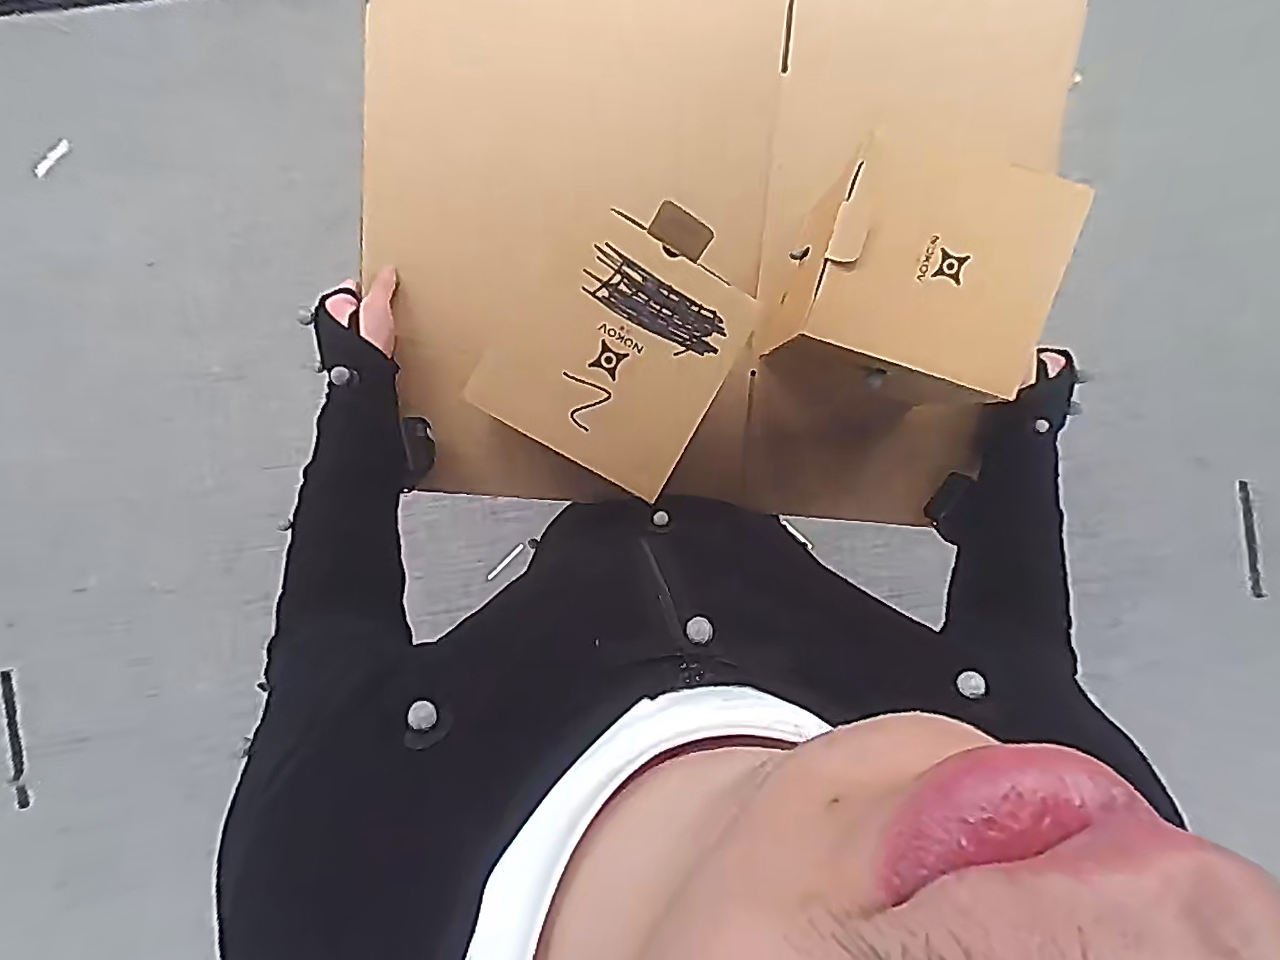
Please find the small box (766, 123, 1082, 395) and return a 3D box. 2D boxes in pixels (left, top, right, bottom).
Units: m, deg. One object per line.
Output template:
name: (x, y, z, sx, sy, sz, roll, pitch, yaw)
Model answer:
small box: (0.237, -0.183, 0.503, 0.179, 0.176, 0.168, 18, 97, 1)
